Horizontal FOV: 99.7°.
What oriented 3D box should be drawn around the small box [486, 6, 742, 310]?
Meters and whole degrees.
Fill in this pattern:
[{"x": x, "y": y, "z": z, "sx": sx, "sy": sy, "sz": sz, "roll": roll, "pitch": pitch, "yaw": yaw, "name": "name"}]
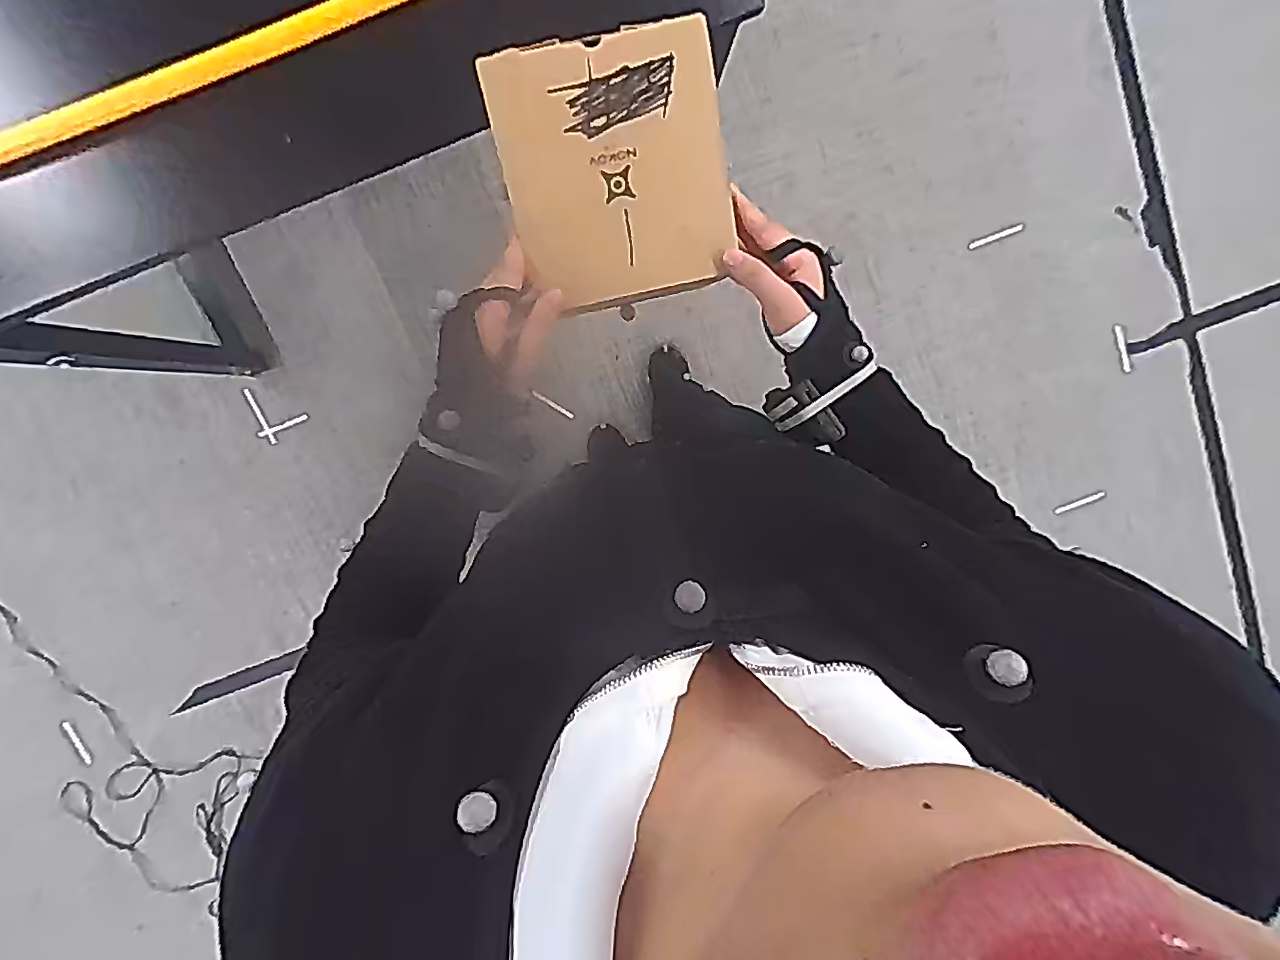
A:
[{"x": -0.021, "y": -0.258, "z": 0.479, "sx": 0.168, "sy": 0.176, "sz": 0.179, "roll": -13, "pitch": 106, "yaw": -1, "name": "small box"}]
